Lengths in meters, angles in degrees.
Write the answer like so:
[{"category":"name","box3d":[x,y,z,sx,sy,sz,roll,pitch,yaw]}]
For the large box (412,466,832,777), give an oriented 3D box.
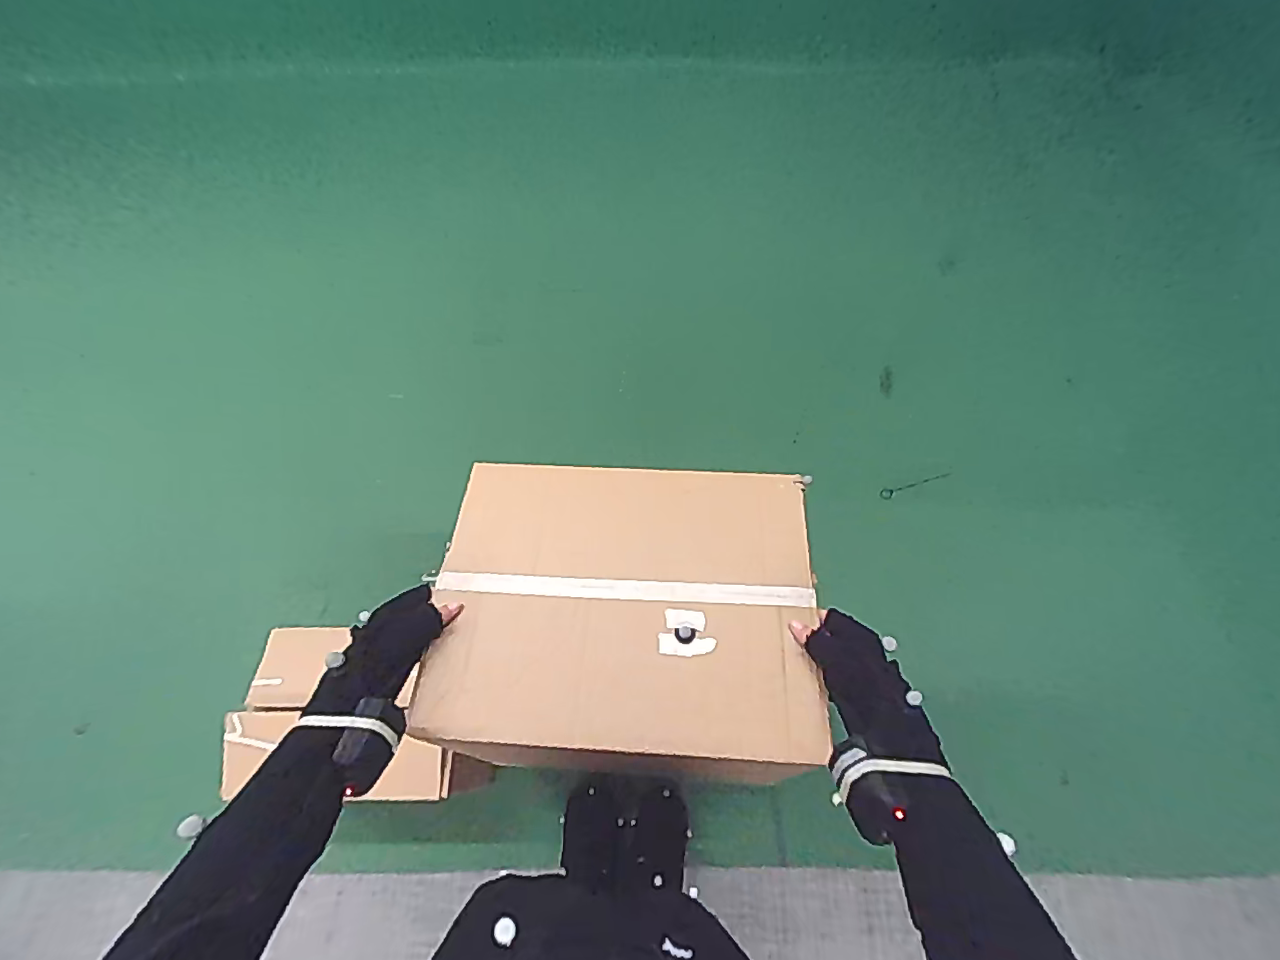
[{"category":"large box","box3d":[-0.013,0.196,0.707,0.408,0.320,0.320,2,59,2]}]
